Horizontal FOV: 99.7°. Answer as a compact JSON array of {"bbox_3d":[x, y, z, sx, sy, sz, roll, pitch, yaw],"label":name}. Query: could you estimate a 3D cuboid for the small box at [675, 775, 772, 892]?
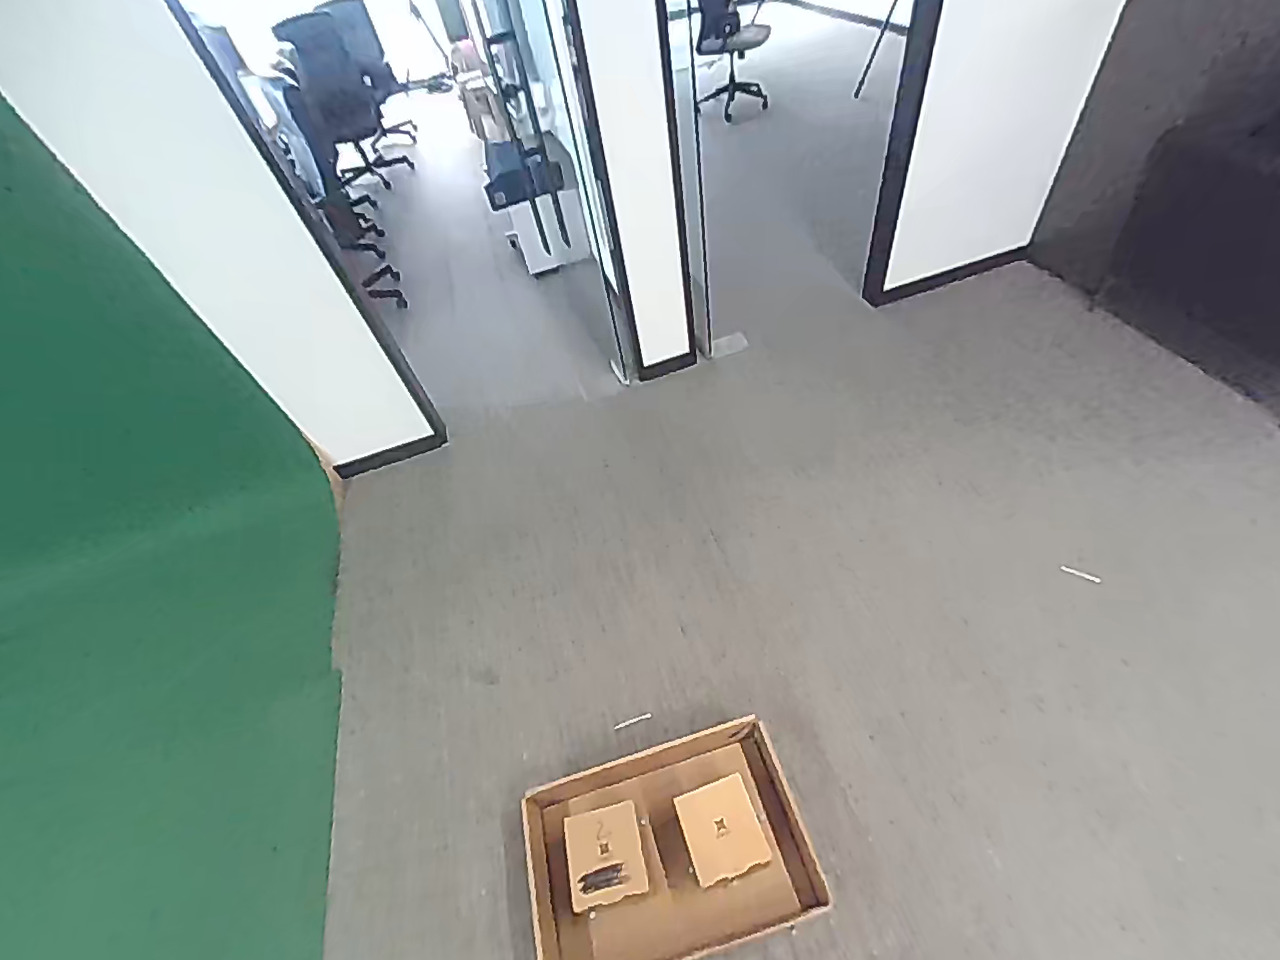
[{"bbox_3d":[0.188,0.813,1.242,0.168,0.176,0.179,-19,50,-5],"label":"small box"}]
